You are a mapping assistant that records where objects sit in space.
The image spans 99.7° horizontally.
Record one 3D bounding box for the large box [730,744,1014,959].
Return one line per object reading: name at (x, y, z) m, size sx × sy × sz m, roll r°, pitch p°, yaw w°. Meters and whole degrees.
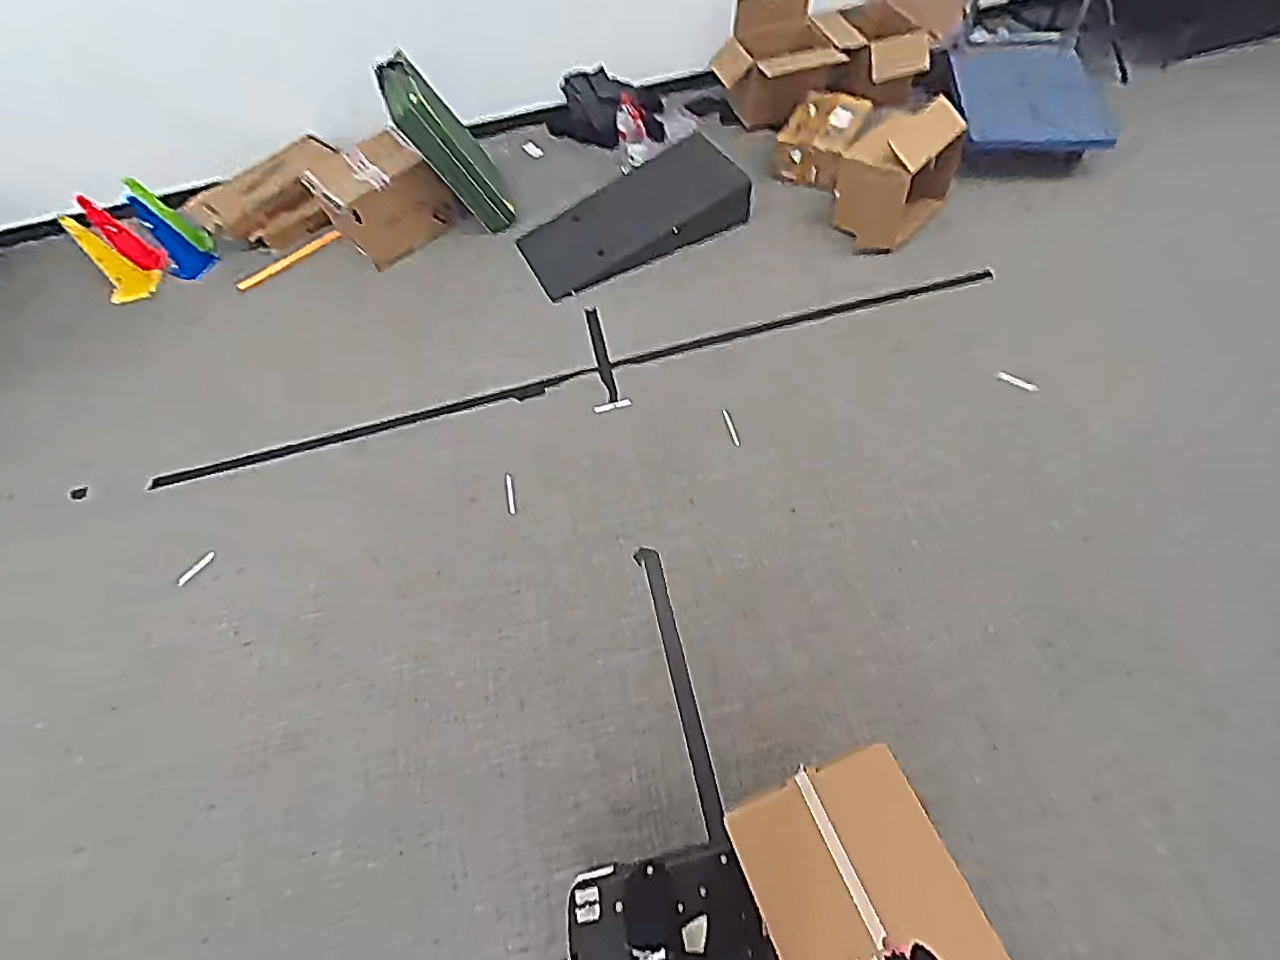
large box at (0.392, 0.743, 0.968) m, size 0.320 × 0.320 × 0.408 m, roll -25°, pitch 60°, yaw 0°
